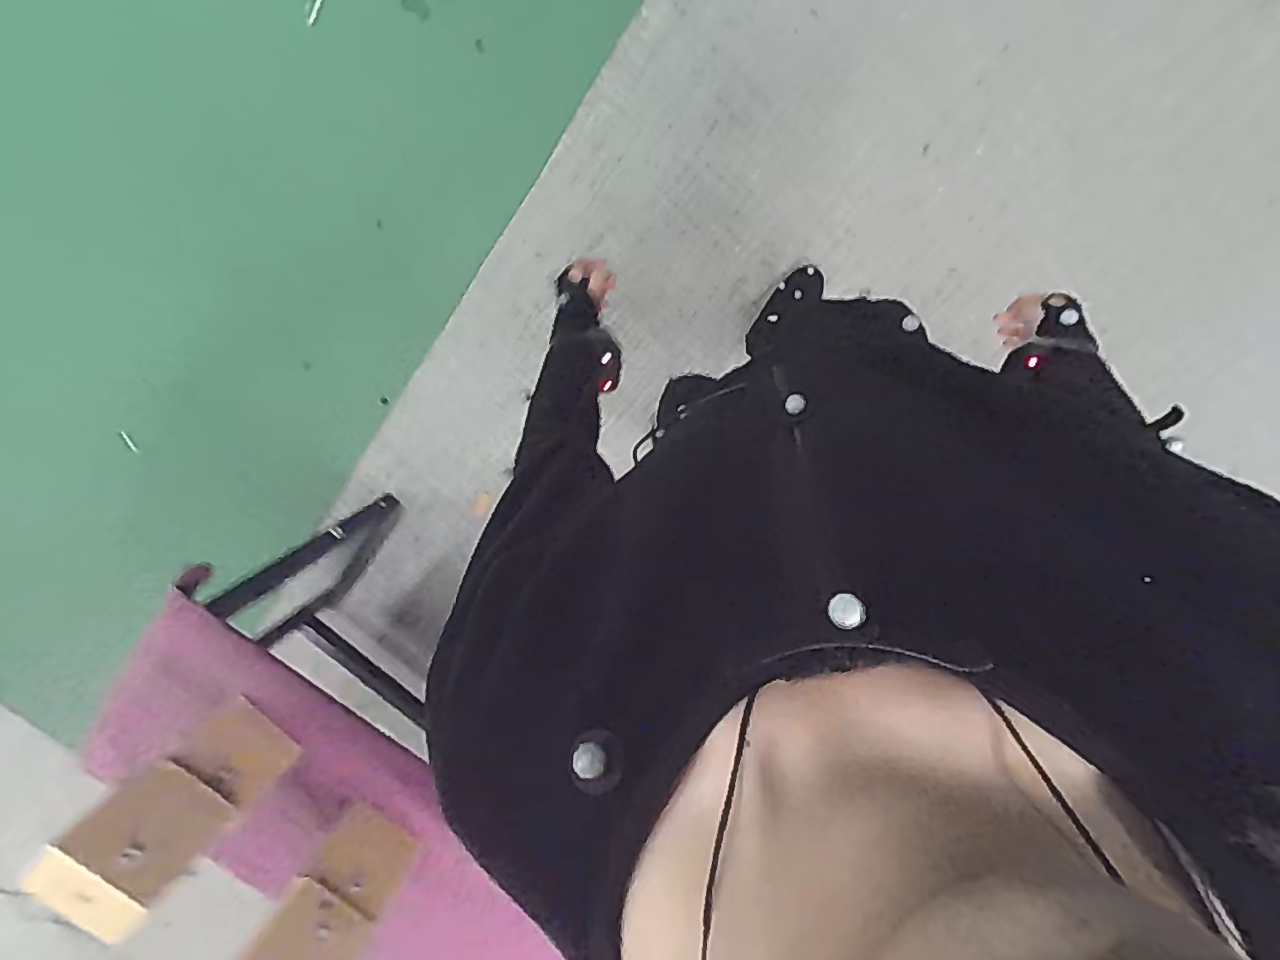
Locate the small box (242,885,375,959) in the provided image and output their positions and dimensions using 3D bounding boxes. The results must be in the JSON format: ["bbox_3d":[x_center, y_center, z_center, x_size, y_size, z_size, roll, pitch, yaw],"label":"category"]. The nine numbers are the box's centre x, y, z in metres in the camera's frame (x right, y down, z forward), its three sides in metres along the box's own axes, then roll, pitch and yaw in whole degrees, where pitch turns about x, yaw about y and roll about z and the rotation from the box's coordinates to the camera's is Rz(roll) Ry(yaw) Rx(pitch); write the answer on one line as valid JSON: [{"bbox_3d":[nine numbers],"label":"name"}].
[{"bbox_3d":[-0.601,0.860,0.935,0.168,0.176,0.179,41,111,-6],"label":"small box"}]

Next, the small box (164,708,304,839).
[{"bbox_3d":[-0.811,0.574,1.049,0.168,0.176,0.179,-37,101,21],"label":"small box"}]

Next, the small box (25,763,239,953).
[{"bbox_3d":[-0.818,0.611,0.888,0.179,0.176,0.168,44,111,-8],"label":"small box"}]

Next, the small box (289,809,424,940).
[{"bbox_3d":[-0.574,0.815,1.092,0.179,0.176,0.168,35,112,-2],"label":"small box"}]
